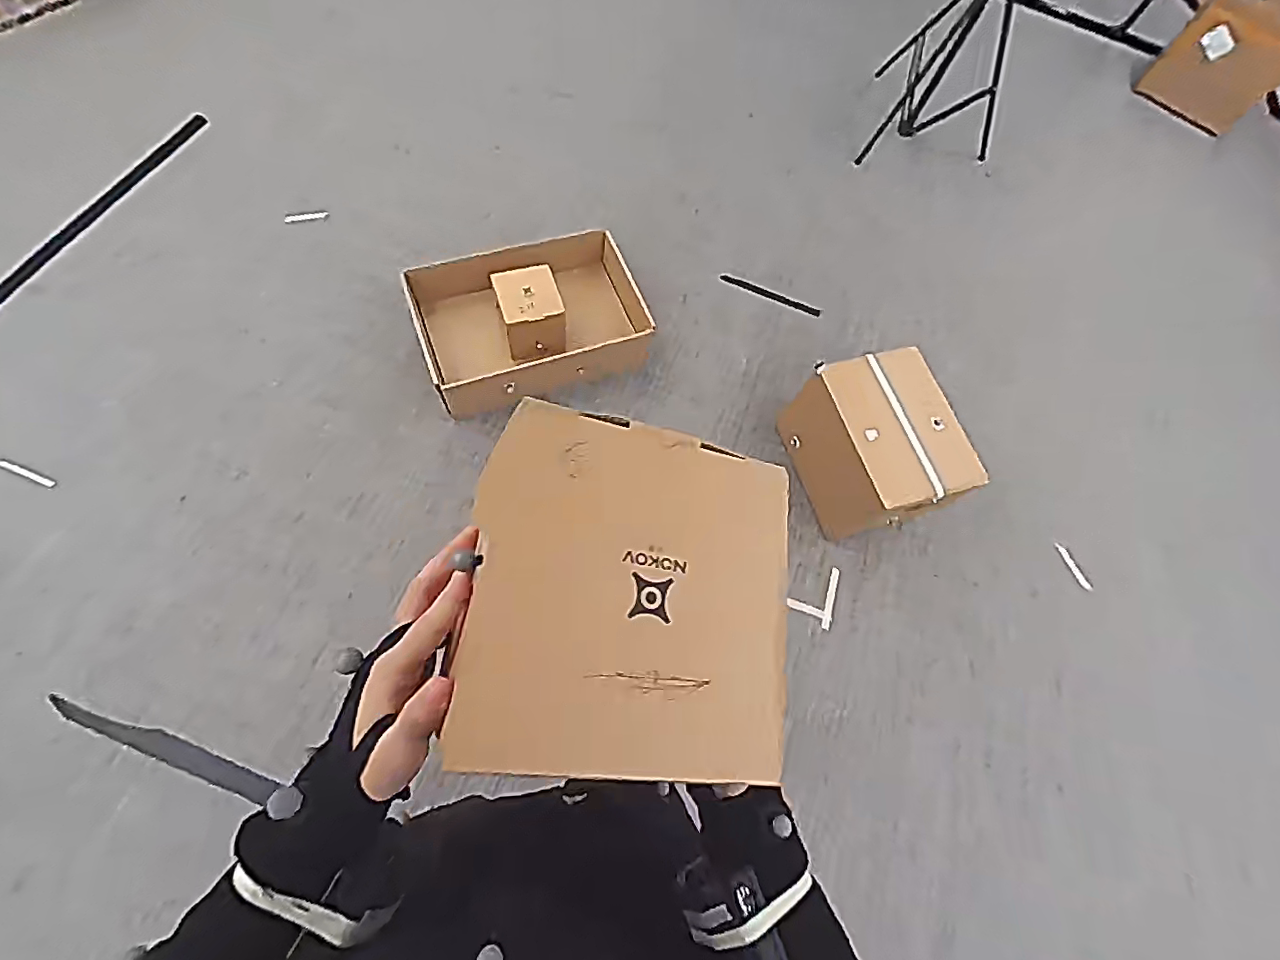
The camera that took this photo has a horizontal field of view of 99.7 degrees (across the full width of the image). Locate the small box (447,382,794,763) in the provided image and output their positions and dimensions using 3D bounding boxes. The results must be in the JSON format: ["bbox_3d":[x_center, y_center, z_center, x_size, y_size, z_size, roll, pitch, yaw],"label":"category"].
[{"bbox_3d":[-0.021,0.068,0.350,0.168,0.176,0.179,13,71,-20],"label":"small box"}]

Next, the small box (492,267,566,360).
[{"bbox_3d":[-0.316,-0.474,1.549,0.168,0.176,0.179,-16,71,-13],"label":"small box"}]
